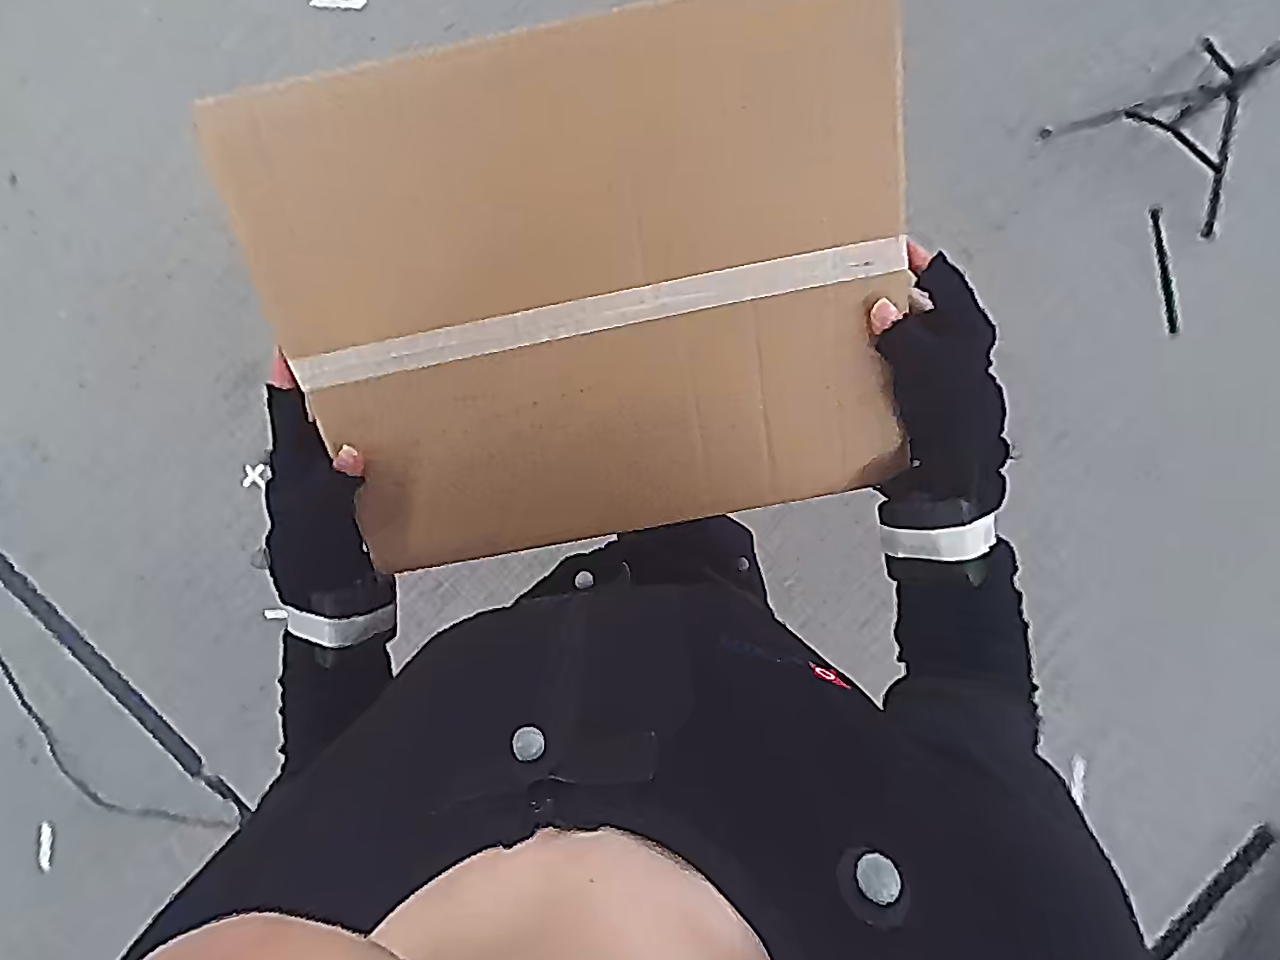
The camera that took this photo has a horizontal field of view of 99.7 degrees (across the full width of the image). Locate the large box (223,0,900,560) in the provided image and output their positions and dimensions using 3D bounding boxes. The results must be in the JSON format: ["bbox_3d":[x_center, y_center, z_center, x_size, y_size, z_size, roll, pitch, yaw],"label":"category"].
[{"bbox_3d":[-0.033,-0.164,0.501,0.408,0.320,0.320,-11,111,2],"label":"large box"}]
